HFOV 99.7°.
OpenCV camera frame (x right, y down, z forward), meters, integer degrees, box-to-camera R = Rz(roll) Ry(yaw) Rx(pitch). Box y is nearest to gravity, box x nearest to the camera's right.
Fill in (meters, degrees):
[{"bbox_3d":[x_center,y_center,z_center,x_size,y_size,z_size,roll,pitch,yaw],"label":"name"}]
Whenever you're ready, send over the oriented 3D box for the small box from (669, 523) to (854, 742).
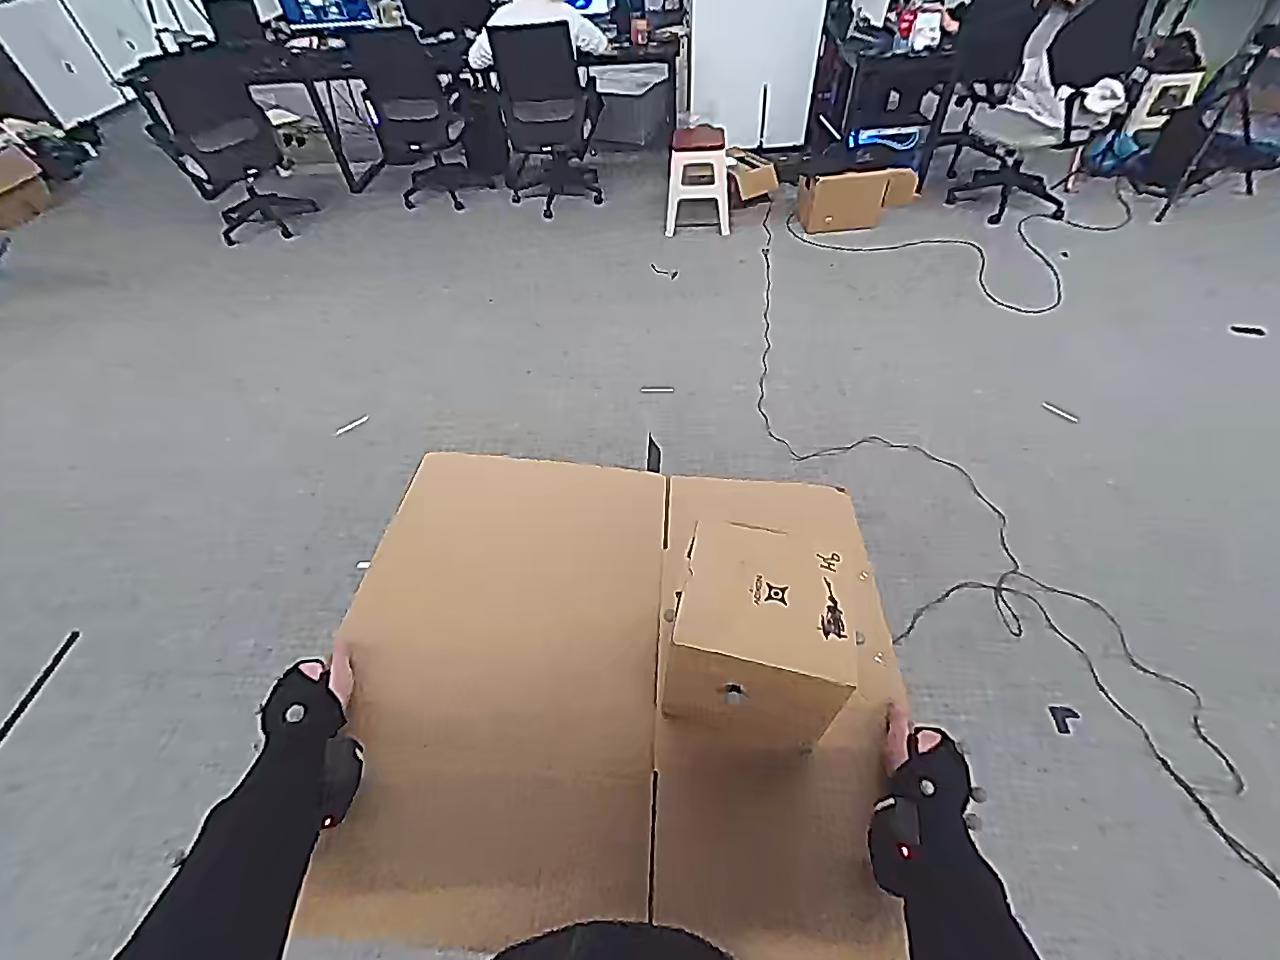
[{"bbox_3d":[0.133,0.176,0.622,0.179,0.176,0.168,10,46,9],"label":"small box"}]
